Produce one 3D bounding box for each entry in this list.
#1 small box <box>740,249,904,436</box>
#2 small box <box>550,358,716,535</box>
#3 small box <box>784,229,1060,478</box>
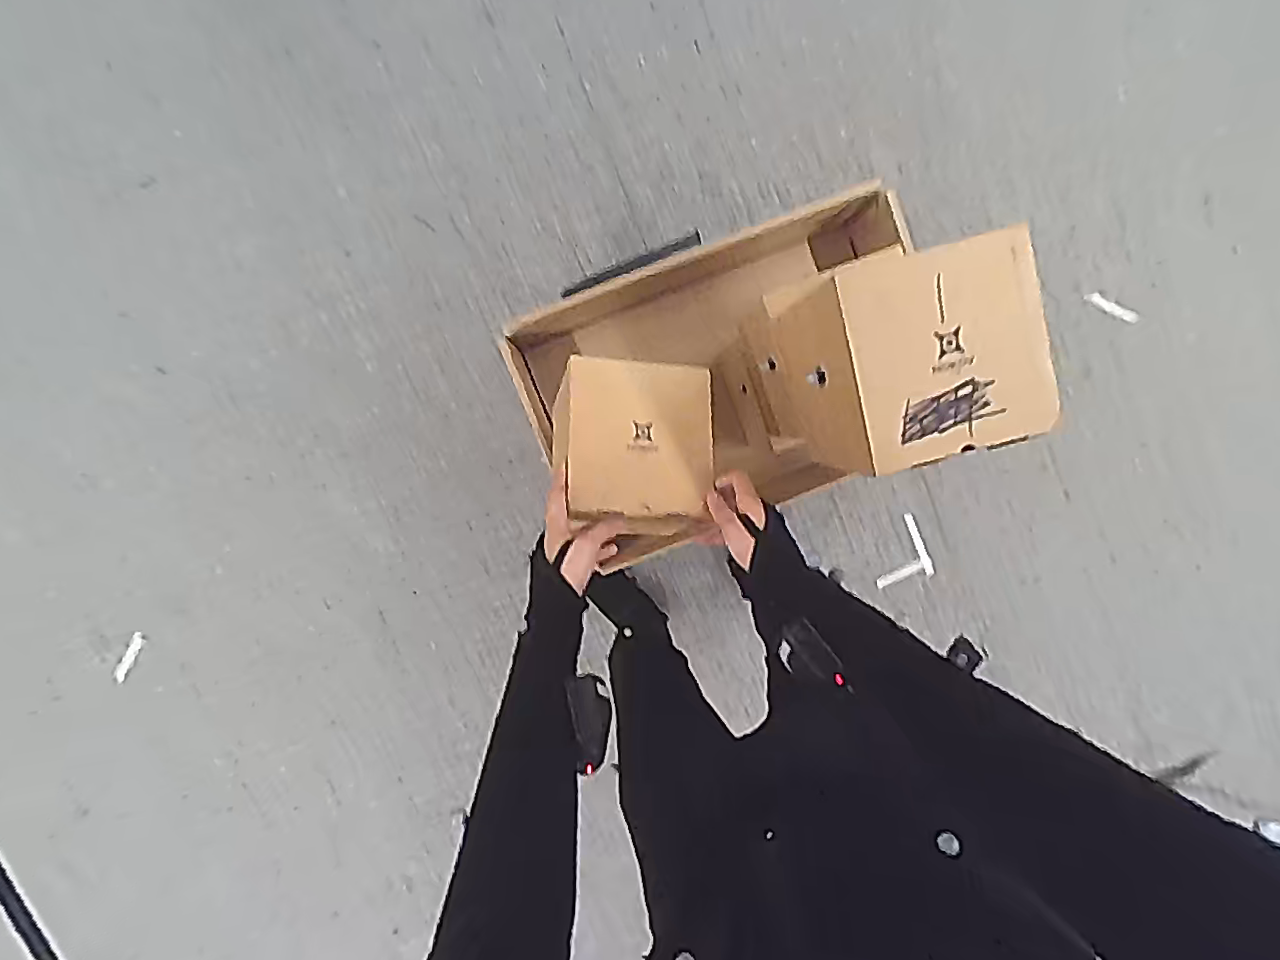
[{"bbox_3d":[0.240,-0.160,0.689,0.168,0.176,0.179,-19,96,2],"label":"small box"},{"bbox_3d":[-0.018,-0.029,0.660,0.168,0.176,0.179,2,79,-15],"label":"small box"},{"bbox_3d":[0.256,-0.112,0.529,0.168,0.176,0.179,-14,96,1],"label":"small box"}]
